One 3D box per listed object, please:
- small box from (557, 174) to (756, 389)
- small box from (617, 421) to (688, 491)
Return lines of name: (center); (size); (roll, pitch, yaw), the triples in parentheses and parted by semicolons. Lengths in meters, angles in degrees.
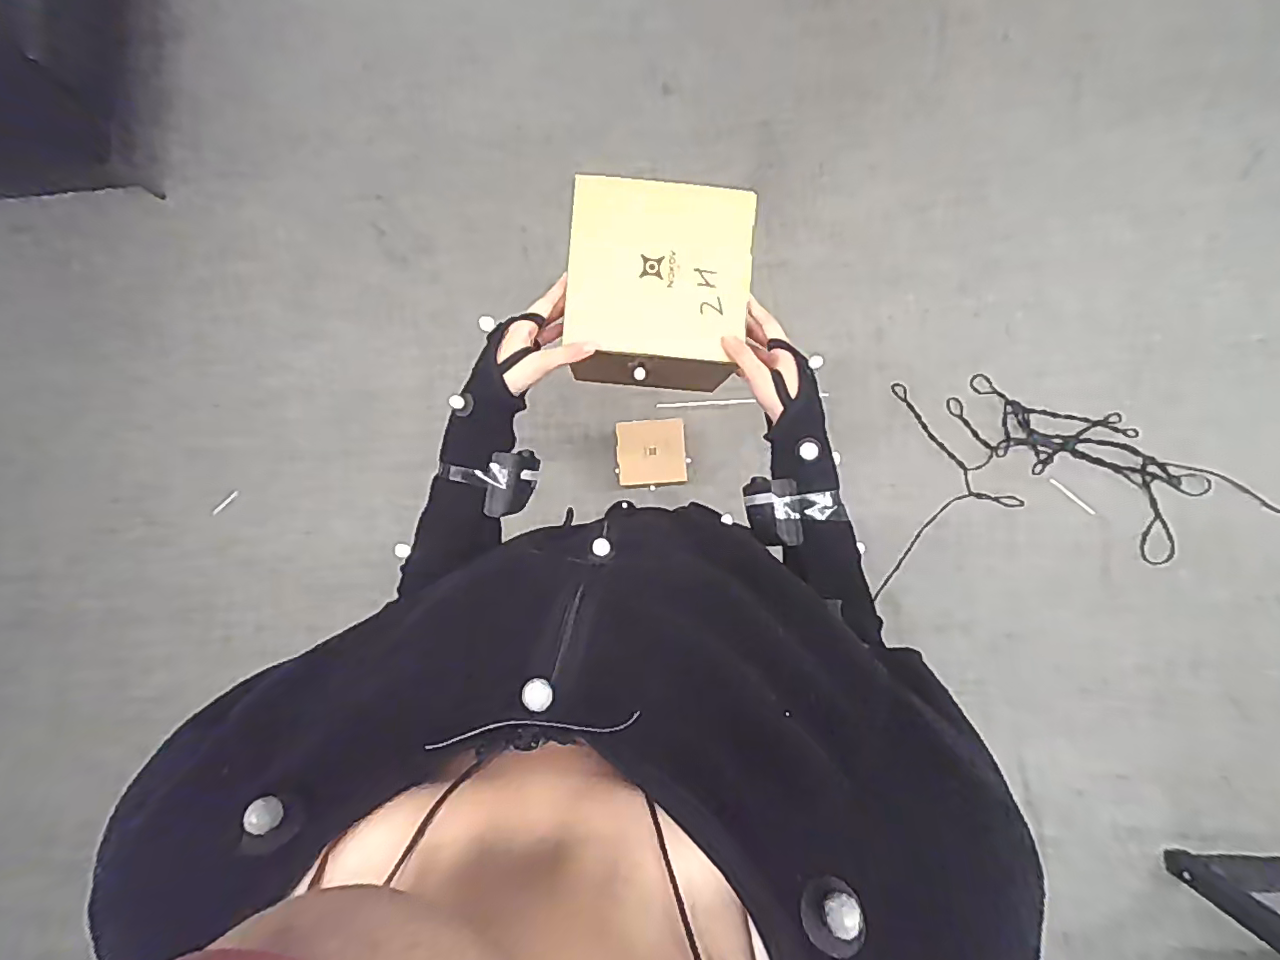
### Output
small box: (0.014, -0.198, 0.585); (0.179, 0.176, 0.168); (5, 90, -2)
small box: (0.038, -0.059, 1.447); (0.179, 0.176, 0.168); (-4, 86, 4)
